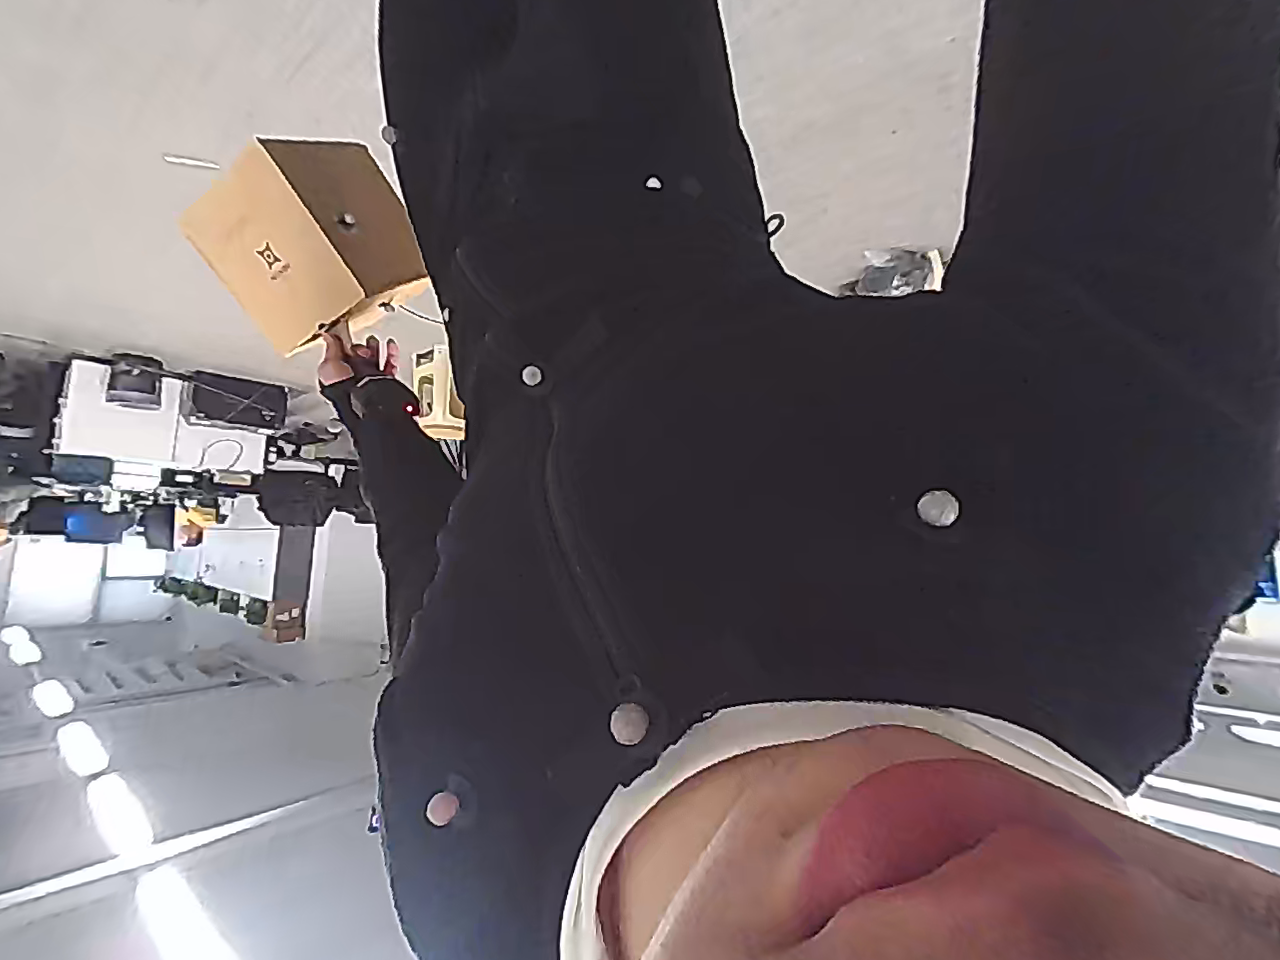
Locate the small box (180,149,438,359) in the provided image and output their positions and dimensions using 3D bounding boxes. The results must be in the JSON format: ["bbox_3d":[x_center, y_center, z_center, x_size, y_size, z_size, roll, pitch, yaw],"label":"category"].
[{"bbox_3d":[-0.391,-0.283,0.672,0.168,0.179,0.176,-21,-157,23],"label":"small box"}]
